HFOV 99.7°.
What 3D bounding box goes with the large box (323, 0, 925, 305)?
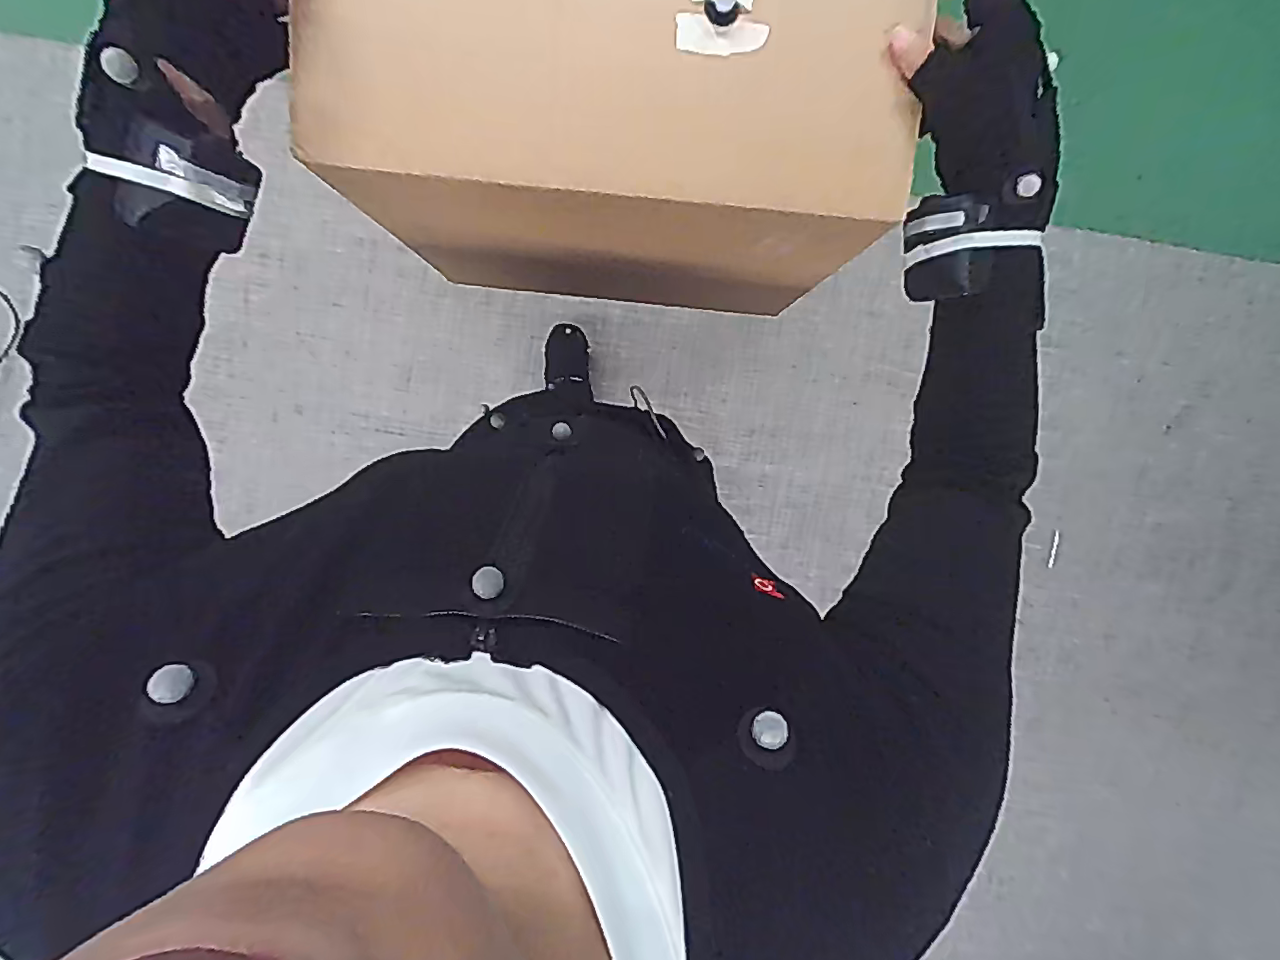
[{"bbox_3d":[-0.009,-0.365,0.502,0.408,0.320,0.320,5,96,-2],"label":"large box"}]
